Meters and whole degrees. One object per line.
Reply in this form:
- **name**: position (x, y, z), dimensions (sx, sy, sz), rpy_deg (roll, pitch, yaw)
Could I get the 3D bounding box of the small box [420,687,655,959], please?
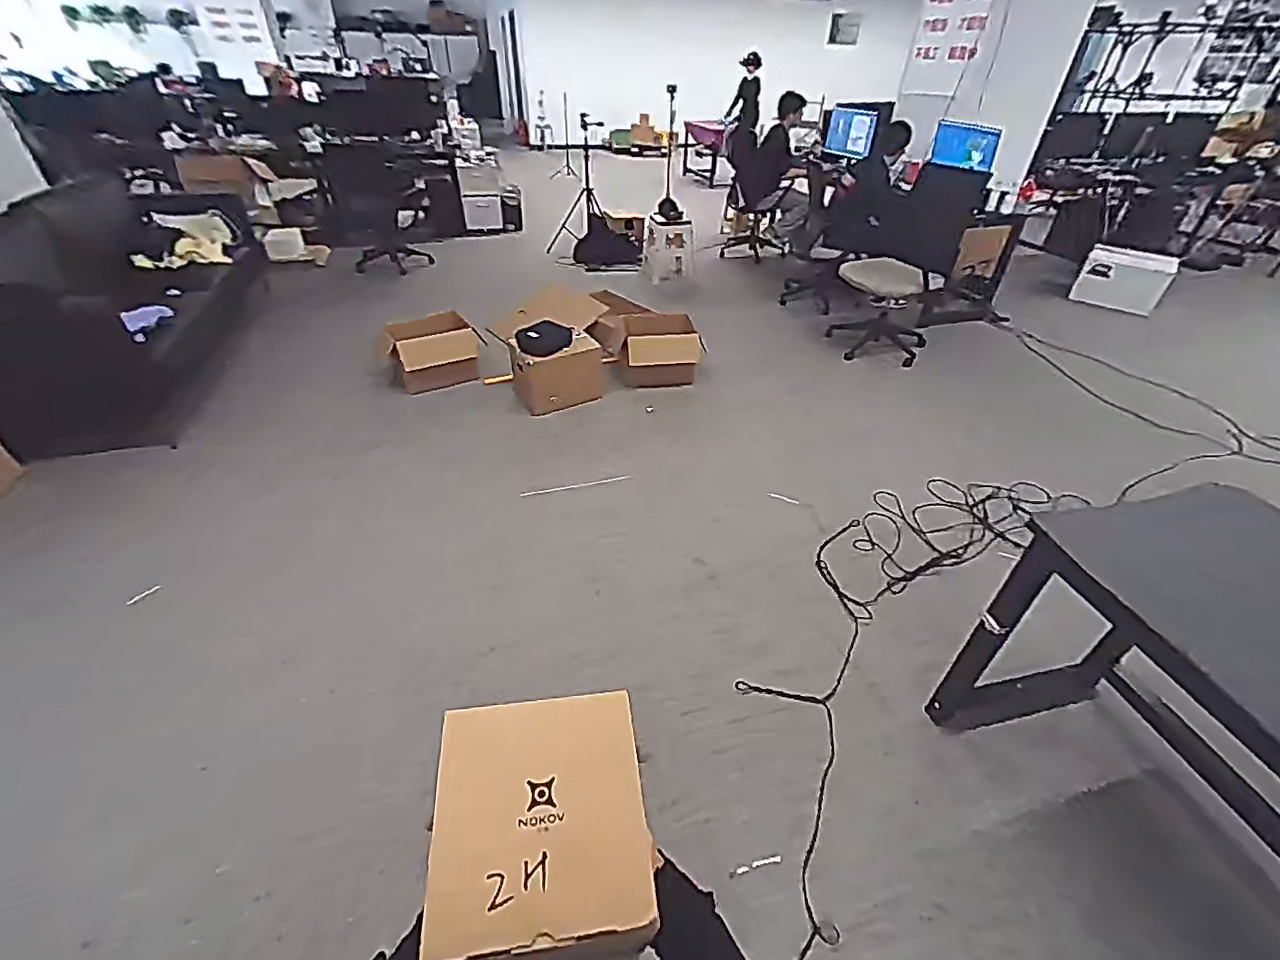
- **small box**: position (-0.085, 0.315, 0.490), dimensions (0.168, 0.176, 0.179), rpy_deg (-3, 43, -8)
